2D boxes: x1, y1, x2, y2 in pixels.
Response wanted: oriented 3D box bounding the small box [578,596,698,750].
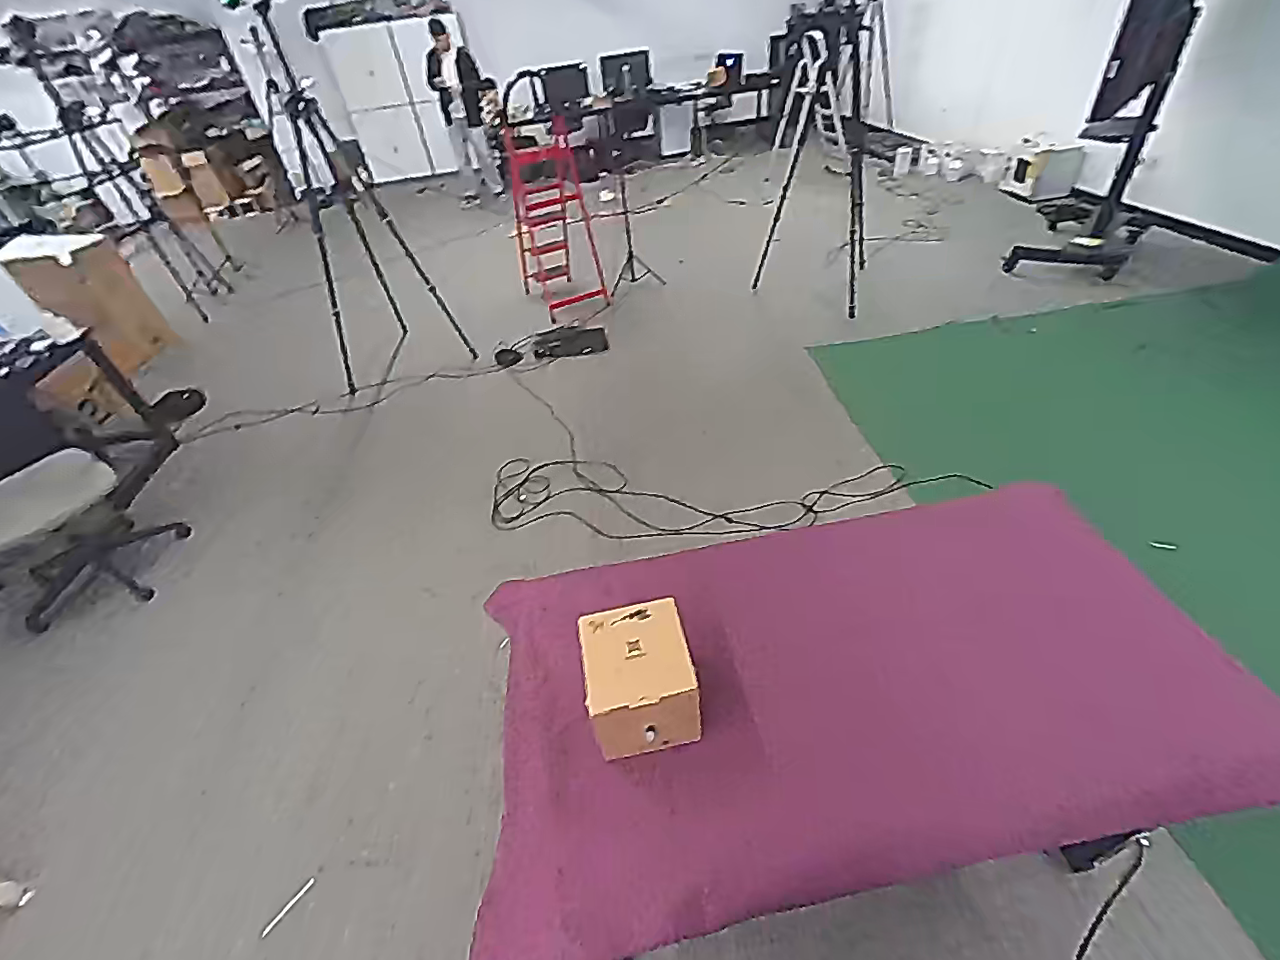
[{"bbox_3d":[-0.002,0.327,0.902,0.168,0.176,0.179,-11,42,-4],"label":"small box"}]
